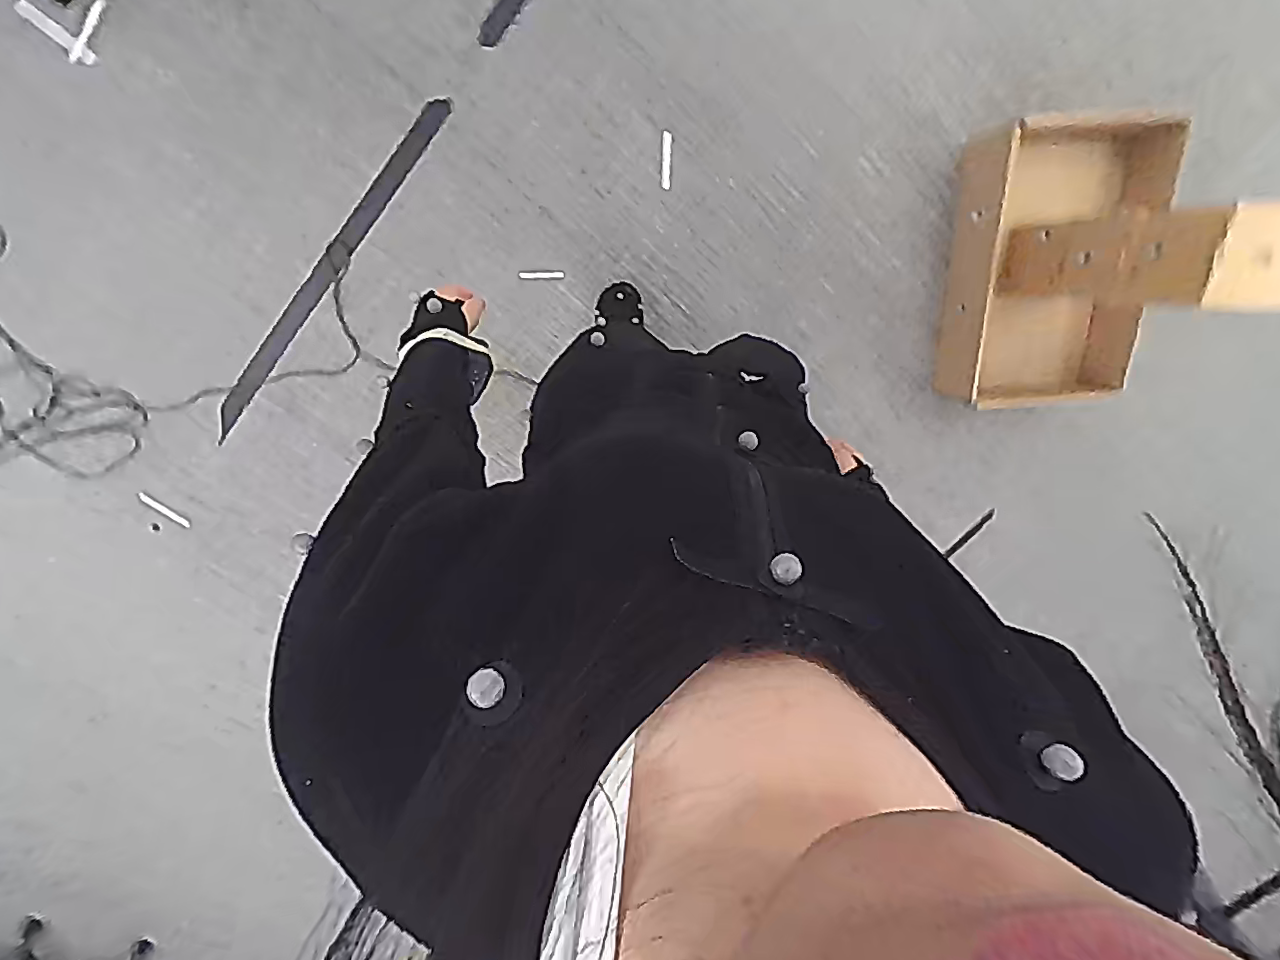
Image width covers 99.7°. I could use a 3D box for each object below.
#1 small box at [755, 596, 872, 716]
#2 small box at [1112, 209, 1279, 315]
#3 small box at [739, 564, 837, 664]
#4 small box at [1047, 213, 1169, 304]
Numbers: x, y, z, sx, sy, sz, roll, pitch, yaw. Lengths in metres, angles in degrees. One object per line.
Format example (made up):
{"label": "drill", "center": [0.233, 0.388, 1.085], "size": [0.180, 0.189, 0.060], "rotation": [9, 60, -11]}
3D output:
{"label": "small box", "center": [0.345, 0.362, 1.114], "size": [0.168, 0.176, 0.179], "rotation": [4, 109, -6]}
{"label": "small box", "center": [1.041, -0.398, 0.994], "size": [0.179, 0.176, 0.168], "rotation": [-1, 111, -5]}
{"label": "small box", "center": [0.336, 0.310, 1.268], "size": [0.168, 0.176, 0.179], "rotation": [2, 111, -4]}
{"label": "small box", "center": [1.019, -0.461, 1.143], "size": [0.179, 0.176, 0.168], "rotation": [0, 111, -5]}
